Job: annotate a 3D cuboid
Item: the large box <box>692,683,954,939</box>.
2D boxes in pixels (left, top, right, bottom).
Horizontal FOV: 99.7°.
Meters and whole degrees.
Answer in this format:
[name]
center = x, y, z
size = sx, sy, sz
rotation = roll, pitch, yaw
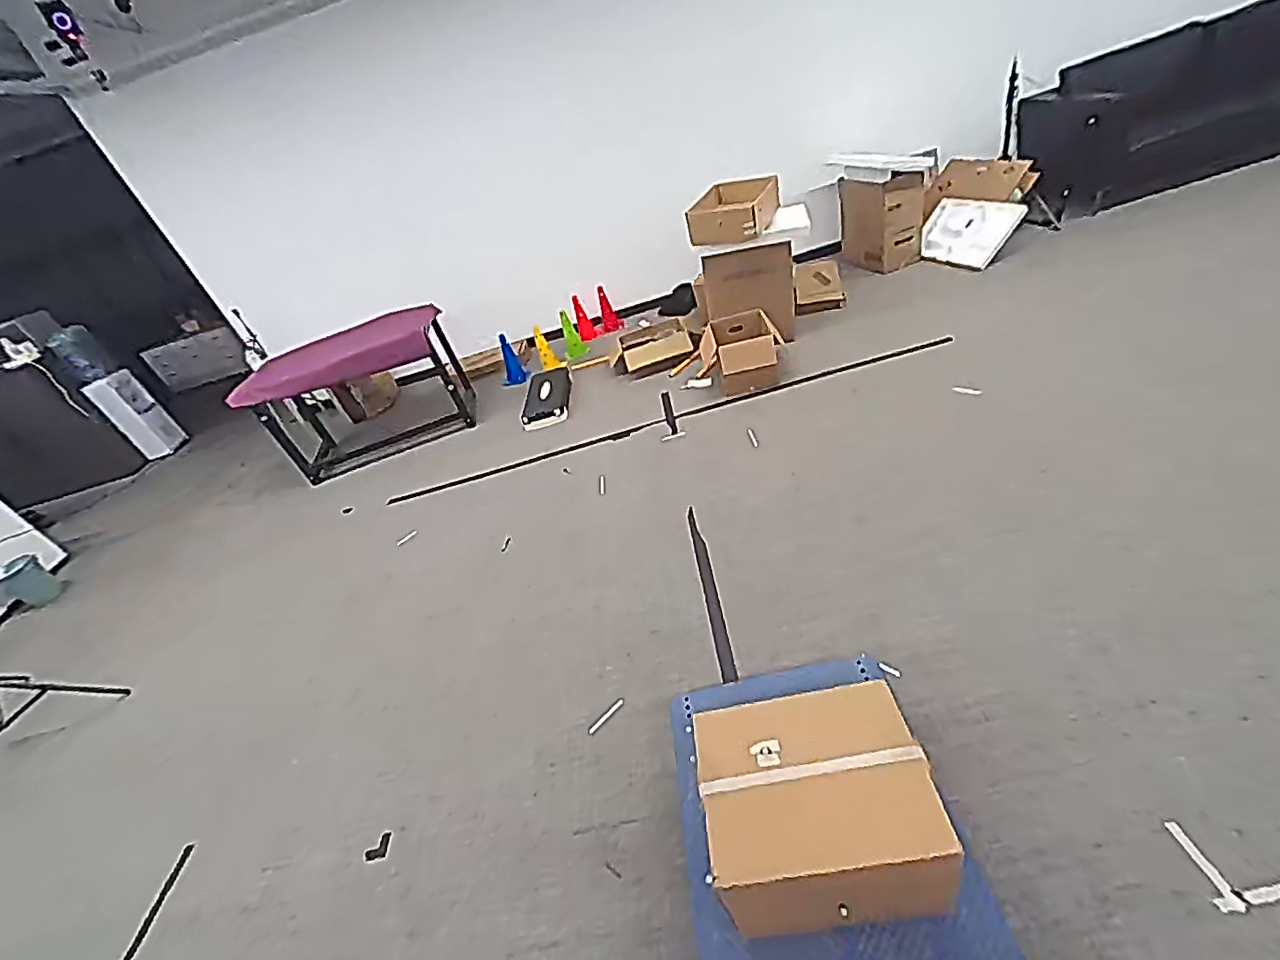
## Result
[large box]
center = 0.351, 0.669, 1.092
size = 0.408, 0.320, 0.320
rotation = -15, 34, 8
